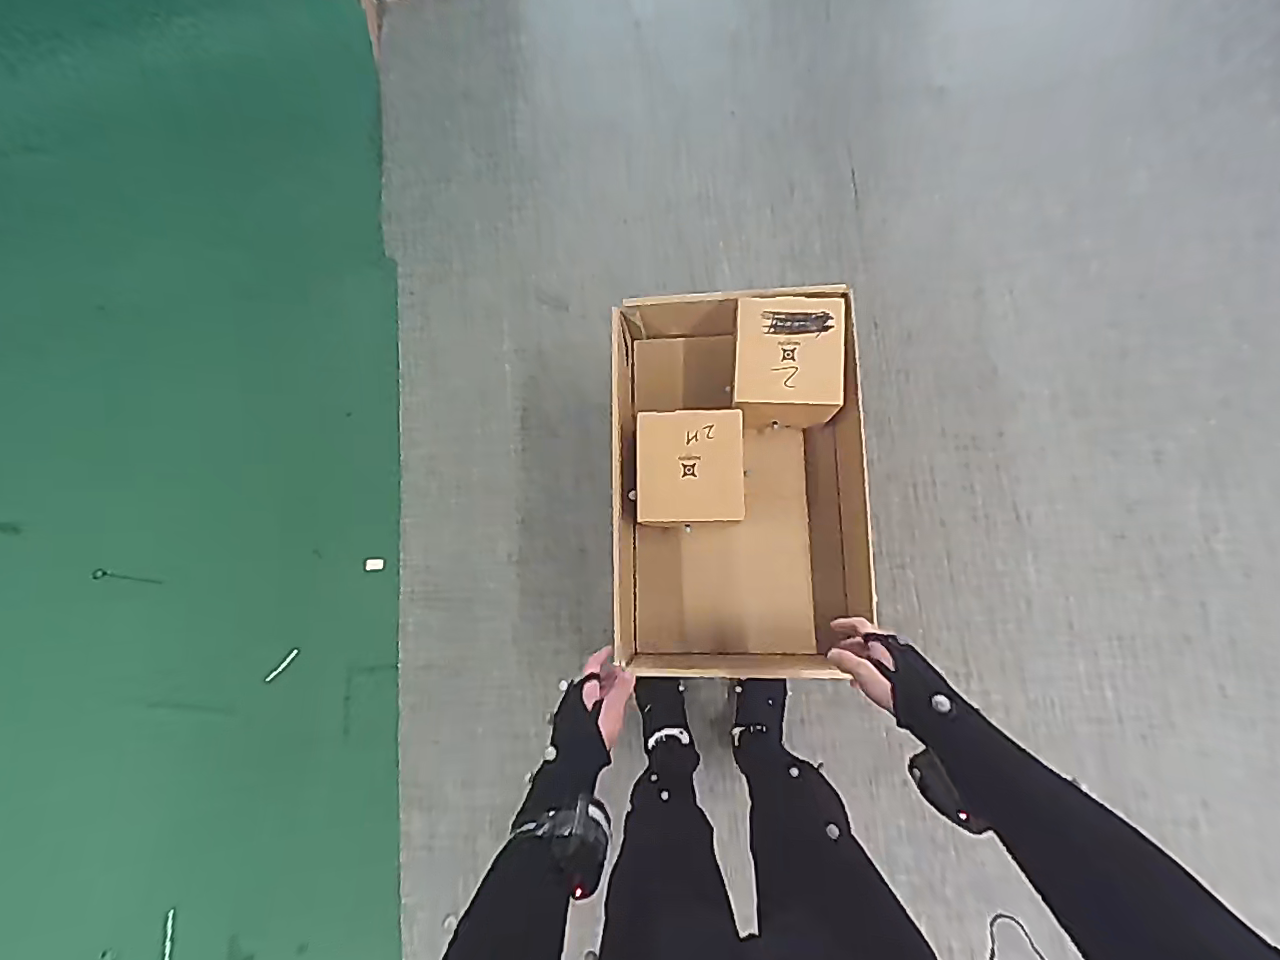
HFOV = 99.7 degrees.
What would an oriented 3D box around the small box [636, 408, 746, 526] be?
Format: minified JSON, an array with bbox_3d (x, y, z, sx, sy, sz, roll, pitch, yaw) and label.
[{"bbox_3d":[0.087,-0.014,0.901,0.168,0.176,0.179,1,82,6],"label":"small box"}]
